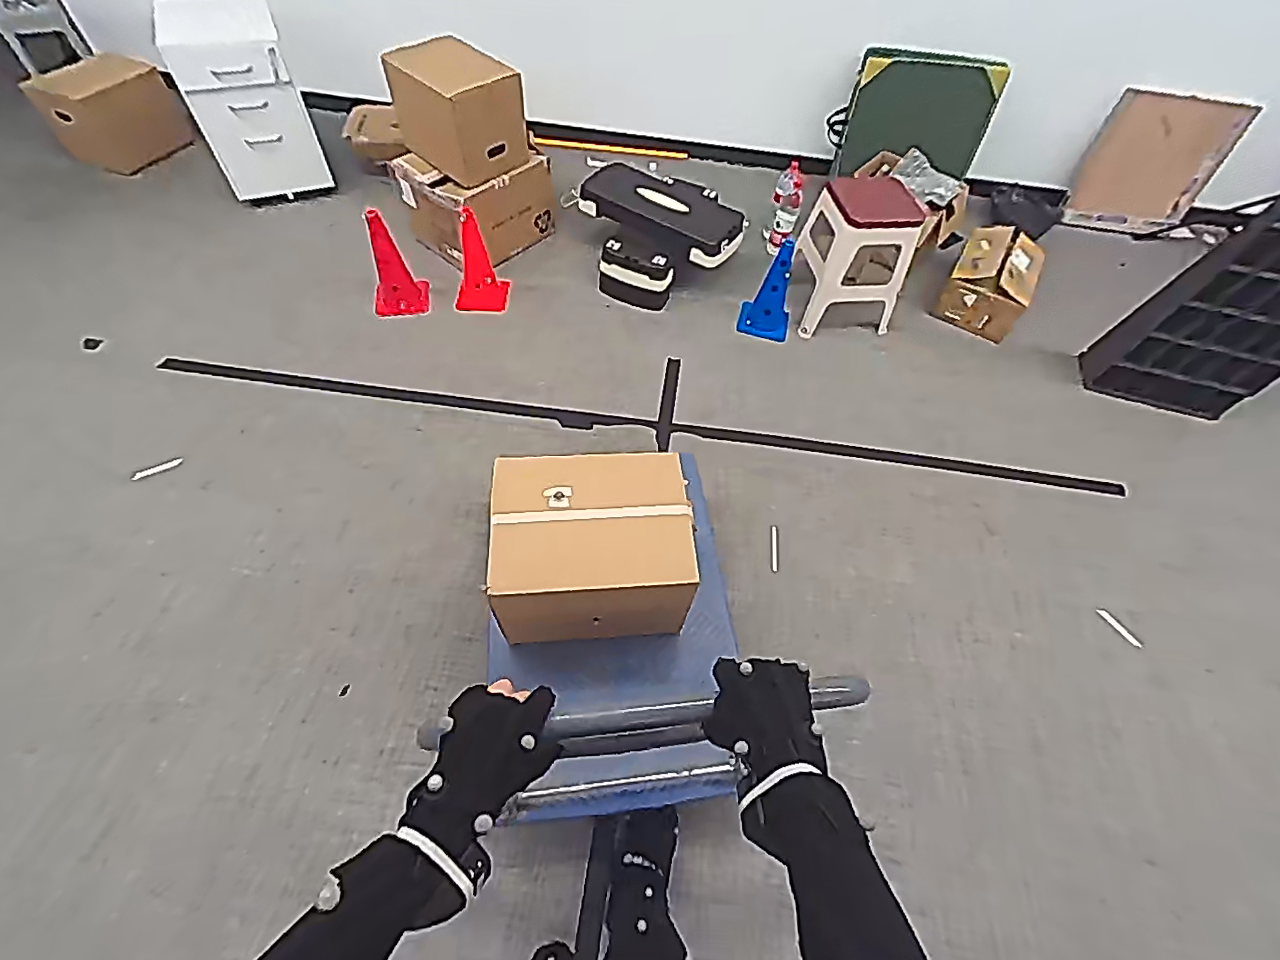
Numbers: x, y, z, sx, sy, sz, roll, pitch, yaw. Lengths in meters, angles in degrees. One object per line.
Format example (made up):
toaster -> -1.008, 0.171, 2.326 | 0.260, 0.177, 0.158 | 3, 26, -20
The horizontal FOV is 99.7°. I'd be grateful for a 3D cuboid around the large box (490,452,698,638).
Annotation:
large box -> -0.105, 0.155, 1.231 | 0.408, 0.320, 0.320 | -2, 57, -5
